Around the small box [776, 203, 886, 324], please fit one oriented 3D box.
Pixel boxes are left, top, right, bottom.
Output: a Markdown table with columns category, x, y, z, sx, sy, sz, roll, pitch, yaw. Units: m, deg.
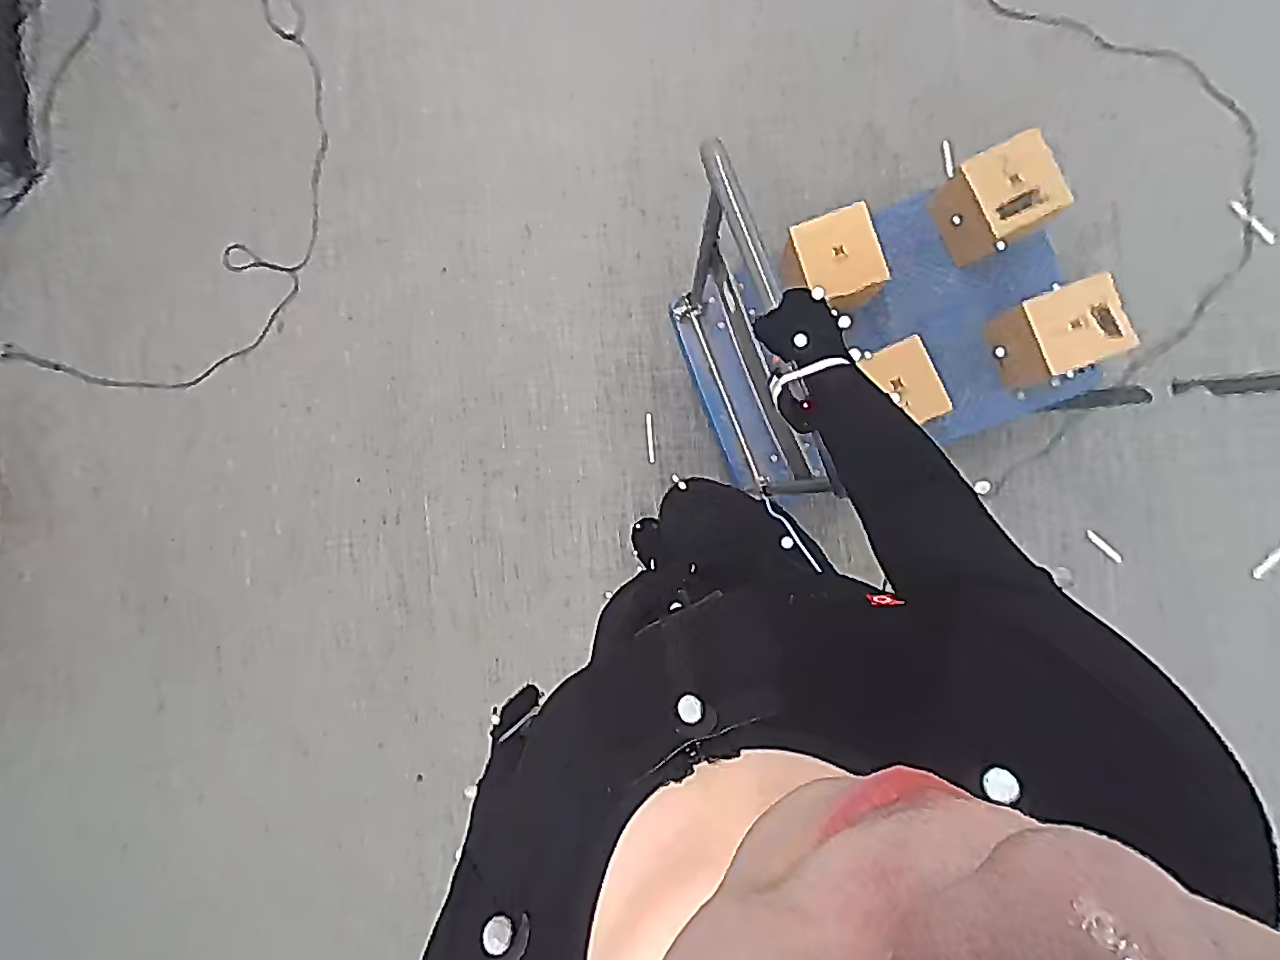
| category | x | y | z | sx | sy | sz | roll | pitch | yaw |
| --- | --- | --- | --- | --- | --- | --- | --- | --- | --- |
| small box | 0.421 | -0.478 | 1.222 | 0.168 | 0.176 | 0.179 | -19 | 89 | 4 |

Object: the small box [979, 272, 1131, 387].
| category | x | y | z | sx | sy | sz | roll | pitch | yaw |
| --- | --- | --- | --- | --- | --- | --- | --- | --- | --- |
| small box | 0.889 | -0.318 | 1.175 | 0.179 | 0.176 | 0.168 | -21 | 88 | 6 |

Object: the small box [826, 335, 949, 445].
| category | x | y | z | sx | sy | sz | roll | pitch | yaw |
| --- | --- | --- | --- | --- | --- | --- | --- | --- | --- |
| small box | 0.539 | -0.192 | 1.206 | 0.168 | 0.176 | 0.179 | -24 | 87 | 5 |
